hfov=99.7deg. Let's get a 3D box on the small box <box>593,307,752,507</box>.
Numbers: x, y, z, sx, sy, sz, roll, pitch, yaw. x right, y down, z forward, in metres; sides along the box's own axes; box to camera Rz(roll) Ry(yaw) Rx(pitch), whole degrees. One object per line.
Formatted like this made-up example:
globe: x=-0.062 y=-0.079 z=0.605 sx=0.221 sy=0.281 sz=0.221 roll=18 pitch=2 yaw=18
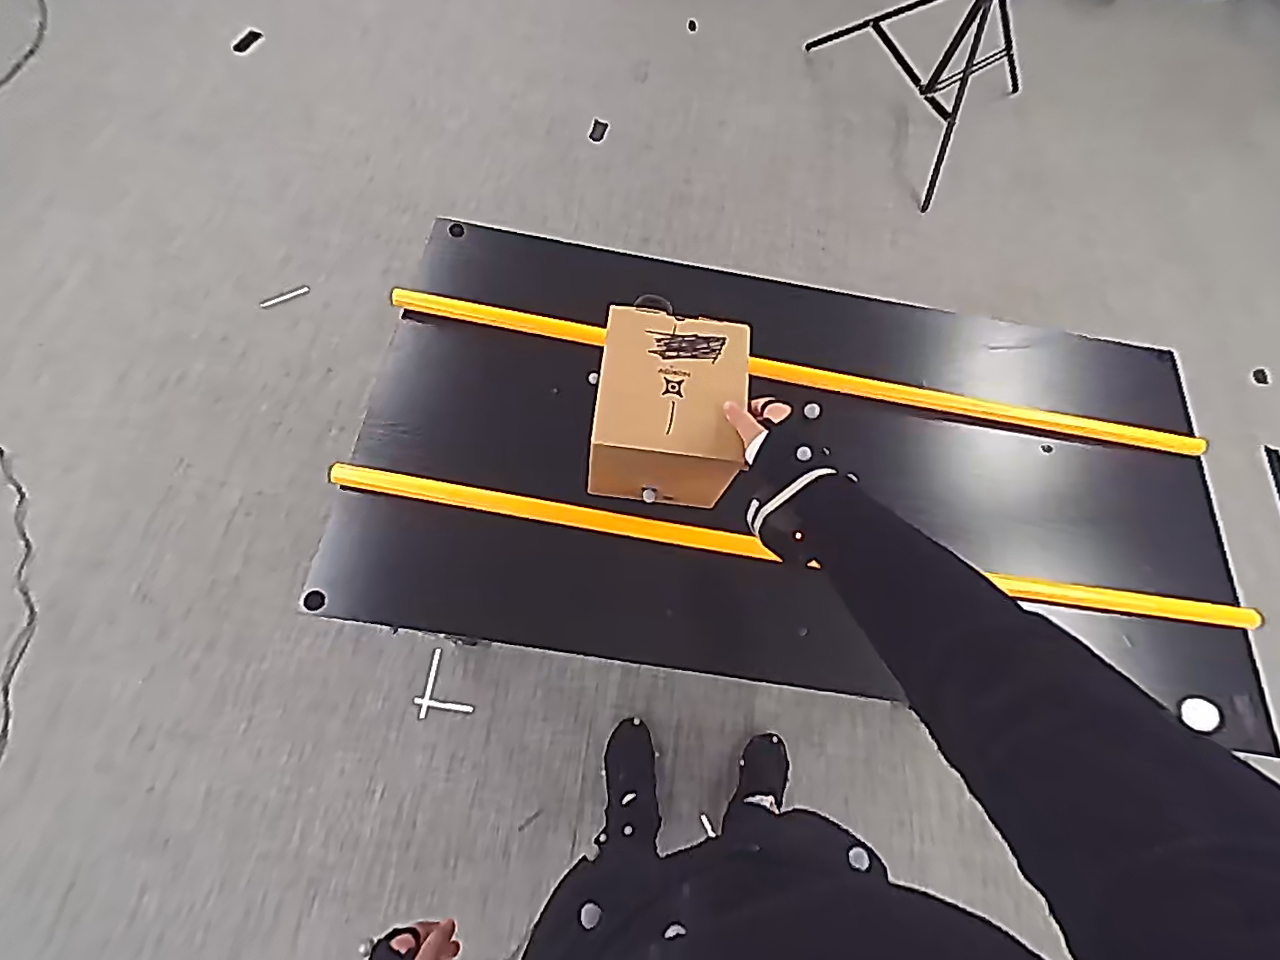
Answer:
small box: x=0.033 y=-0.081 z=0.670 sx=0.168 sy=0.176 sz=0.179 roll=8 pitch=70 yaw=-3
